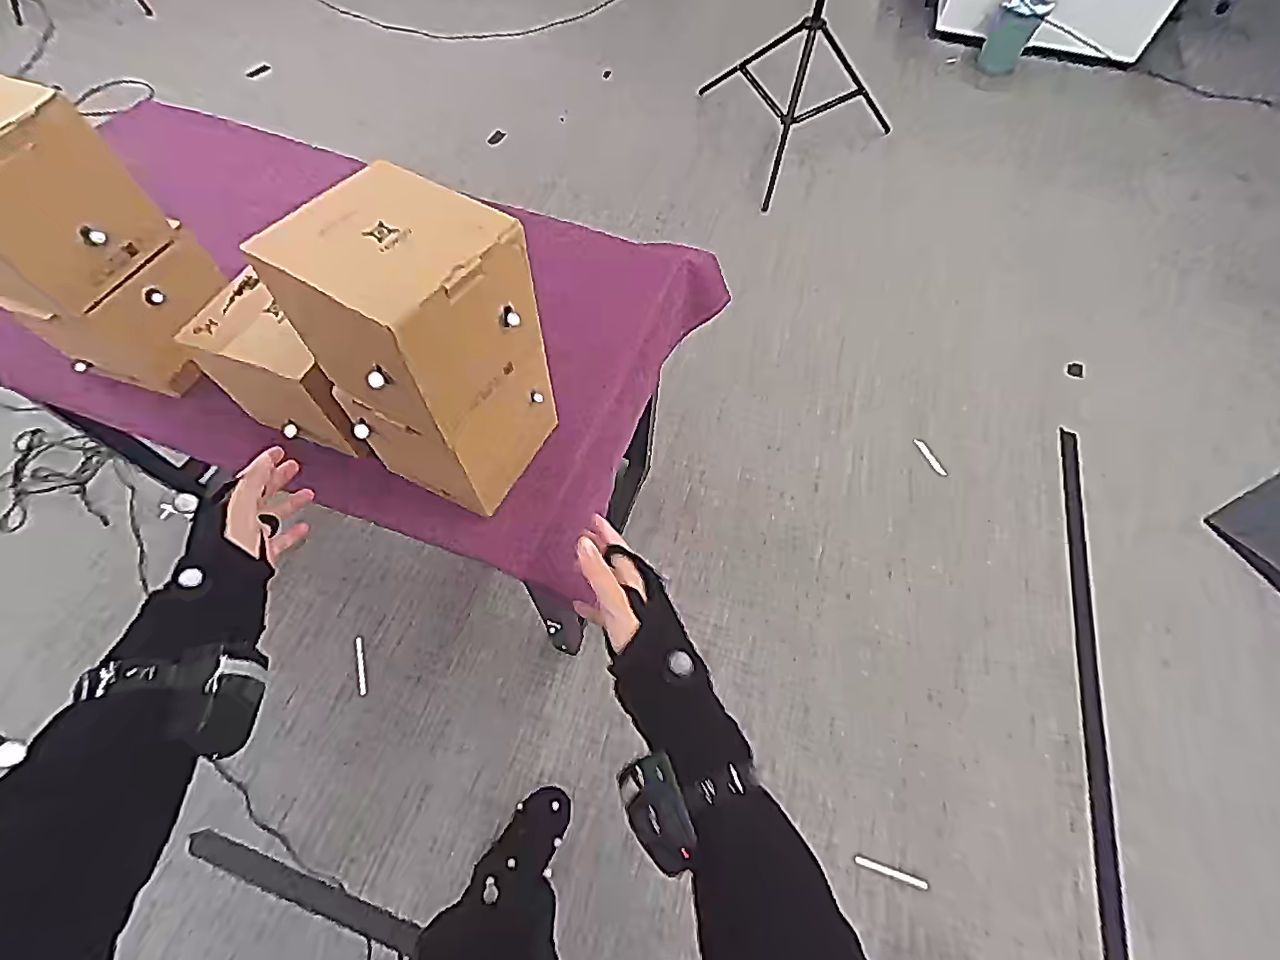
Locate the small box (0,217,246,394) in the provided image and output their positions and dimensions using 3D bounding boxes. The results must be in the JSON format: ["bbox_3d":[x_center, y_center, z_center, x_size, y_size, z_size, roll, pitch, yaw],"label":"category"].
[{"bbox_3d":[-0.701,-0.246,0.744,0.168,0.176,0.179,16,61,6],"label":"small box"}]

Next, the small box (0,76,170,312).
[{"bbox_3d":[-0.696,-0.313,0.593,0.179,0.176,0.168,18,62,7],"label":"small box"}]

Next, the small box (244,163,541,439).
[{"bbox_3d":[-0.217,-0.165,0.532,0.179,0.176,0.168,28,62,14],"label":"small box"}]
